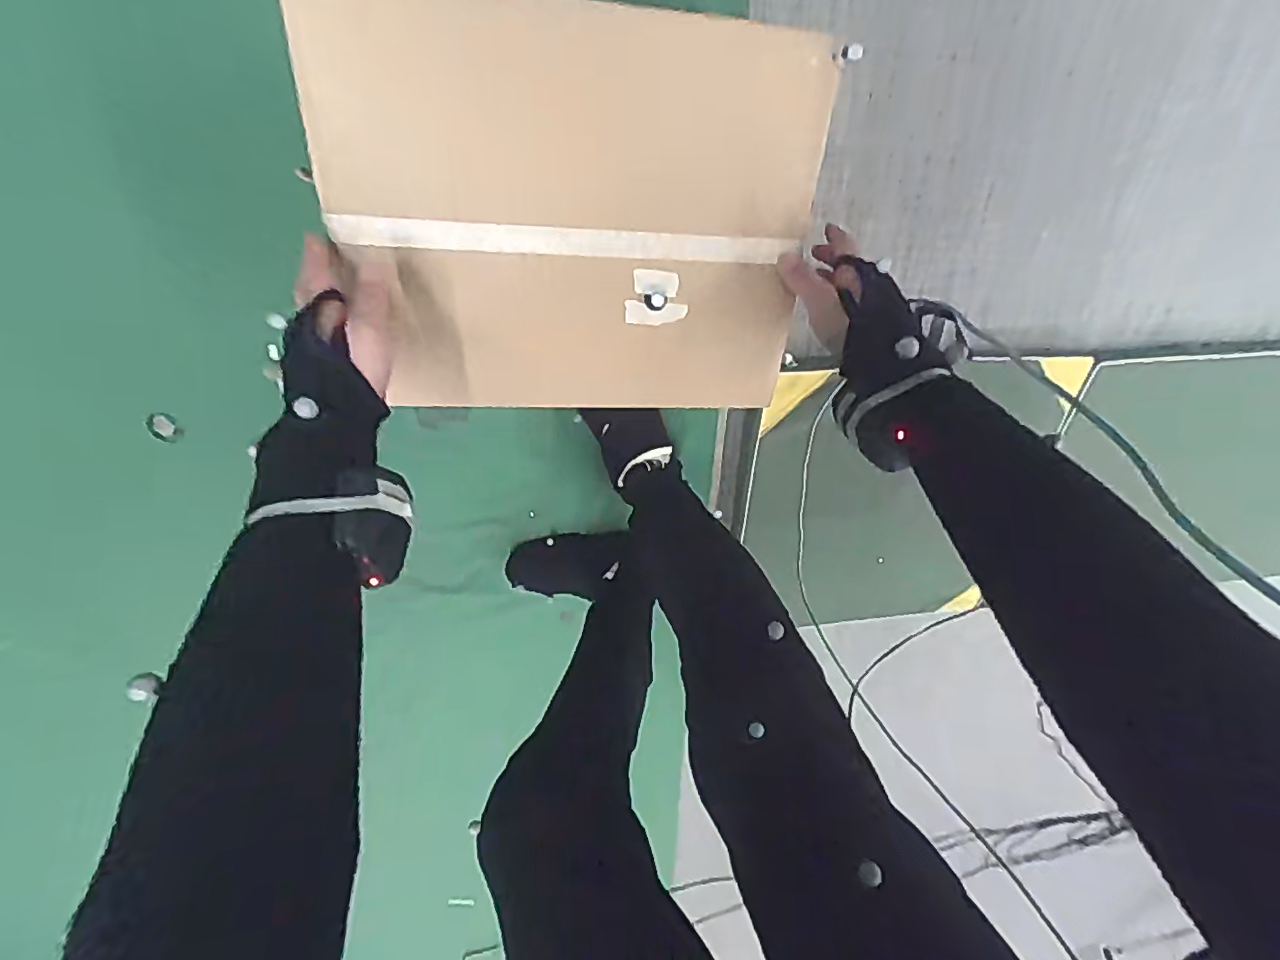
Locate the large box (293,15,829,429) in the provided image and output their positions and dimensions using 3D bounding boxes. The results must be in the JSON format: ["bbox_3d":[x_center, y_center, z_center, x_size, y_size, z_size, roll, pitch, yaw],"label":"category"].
[{"bbox_3d":[-0.077,-0.264,0.599,0.408,0.320,0.320,-2,122,-10],"label":"large box"}]
